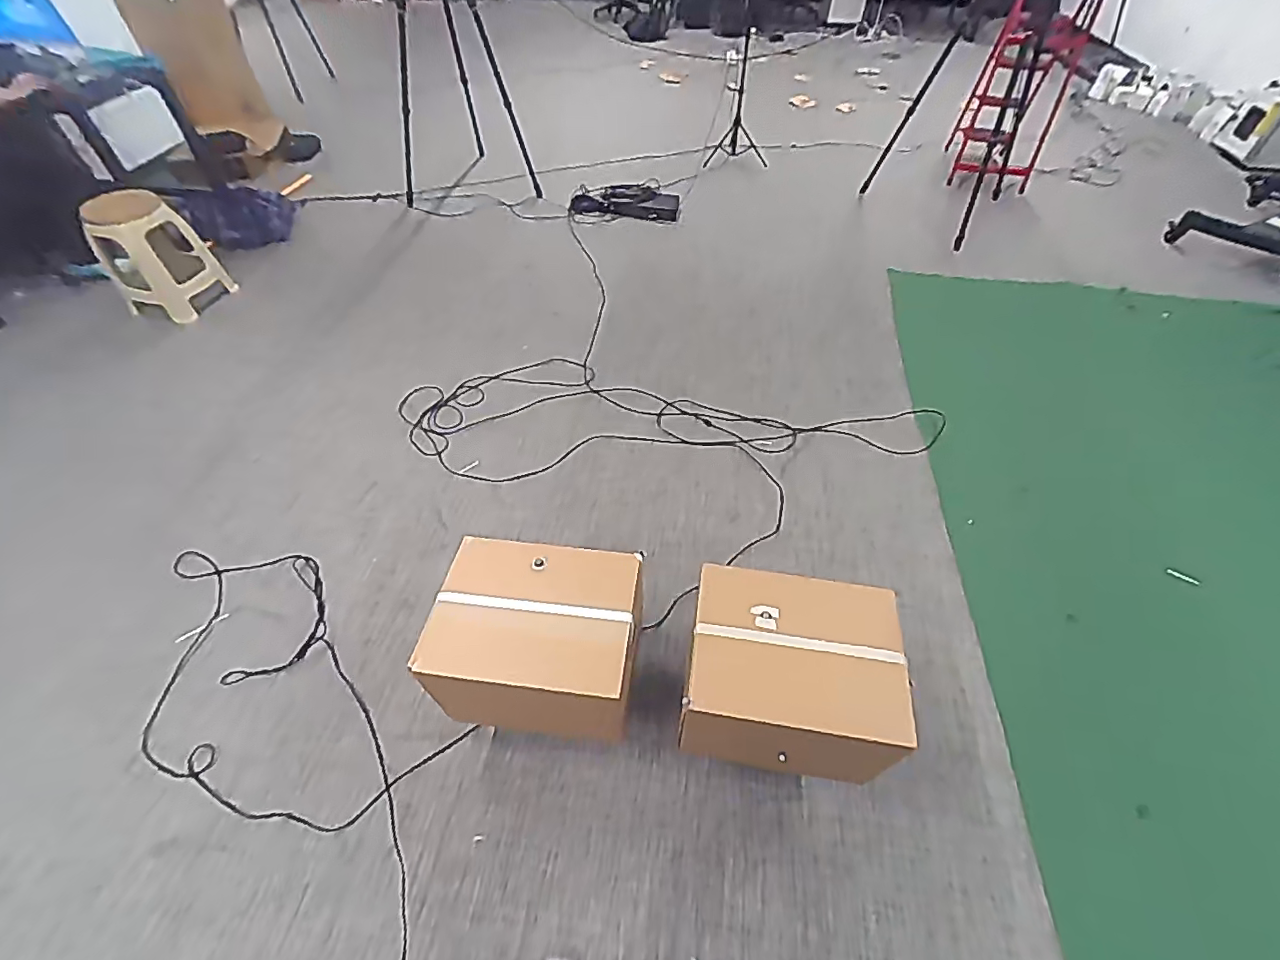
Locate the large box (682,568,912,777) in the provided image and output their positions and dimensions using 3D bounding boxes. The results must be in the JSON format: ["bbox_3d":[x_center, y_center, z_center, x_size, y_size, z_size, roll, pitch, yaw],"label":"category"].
[{"bbox_3d":[0.314,0.425,1.183,0.408,0.320,0.320,7,50,7],"label":"large box"}]
